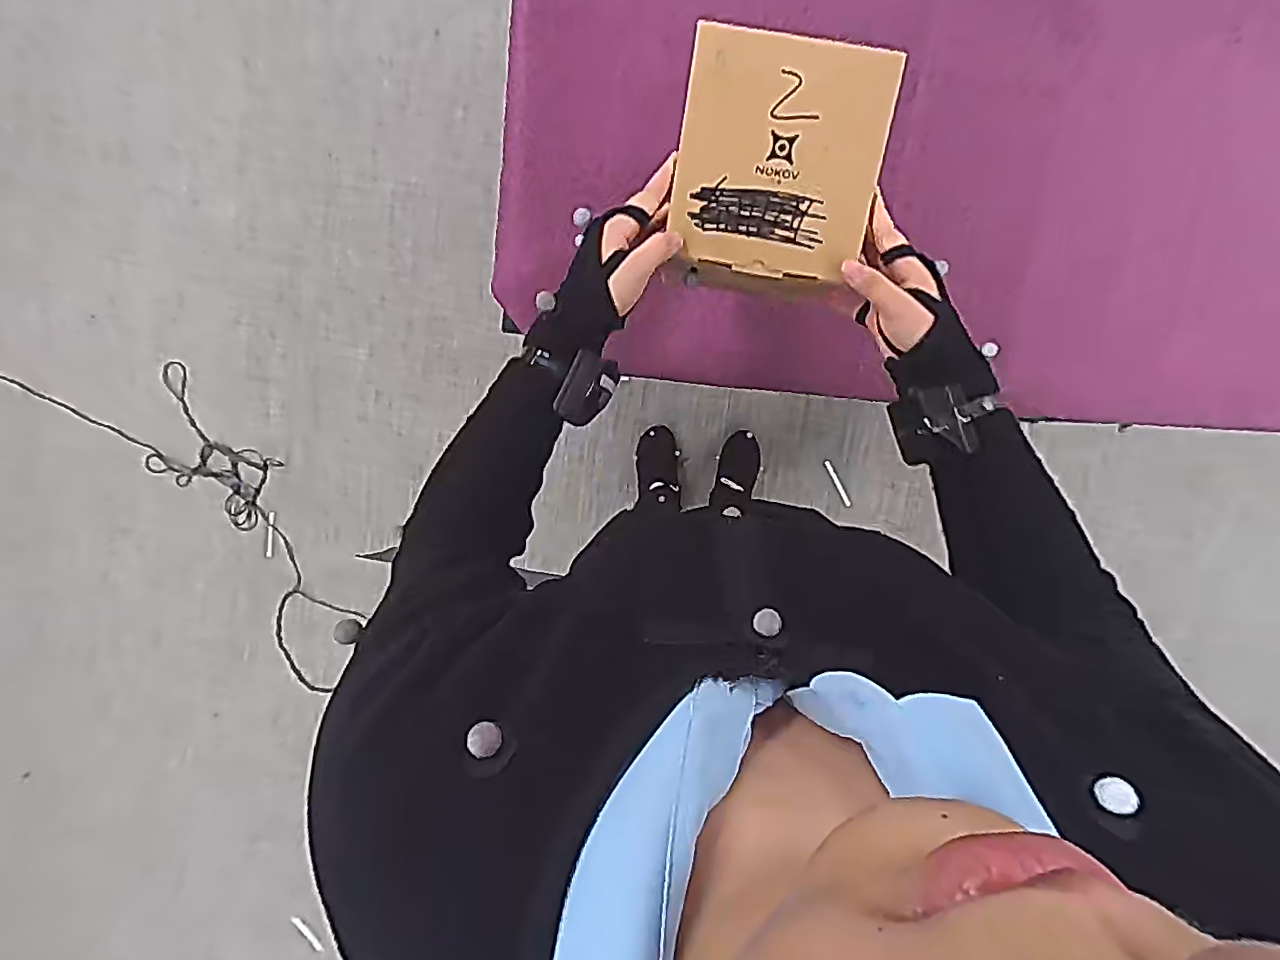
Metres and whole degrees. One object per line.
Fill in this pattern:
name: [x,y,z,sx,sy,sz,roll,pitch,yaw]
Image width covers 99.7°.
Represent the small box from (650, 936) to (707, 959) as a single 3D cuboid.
small box: [0.104,1.462,1.547,0.168,0.176,0.179,6,97,4]
